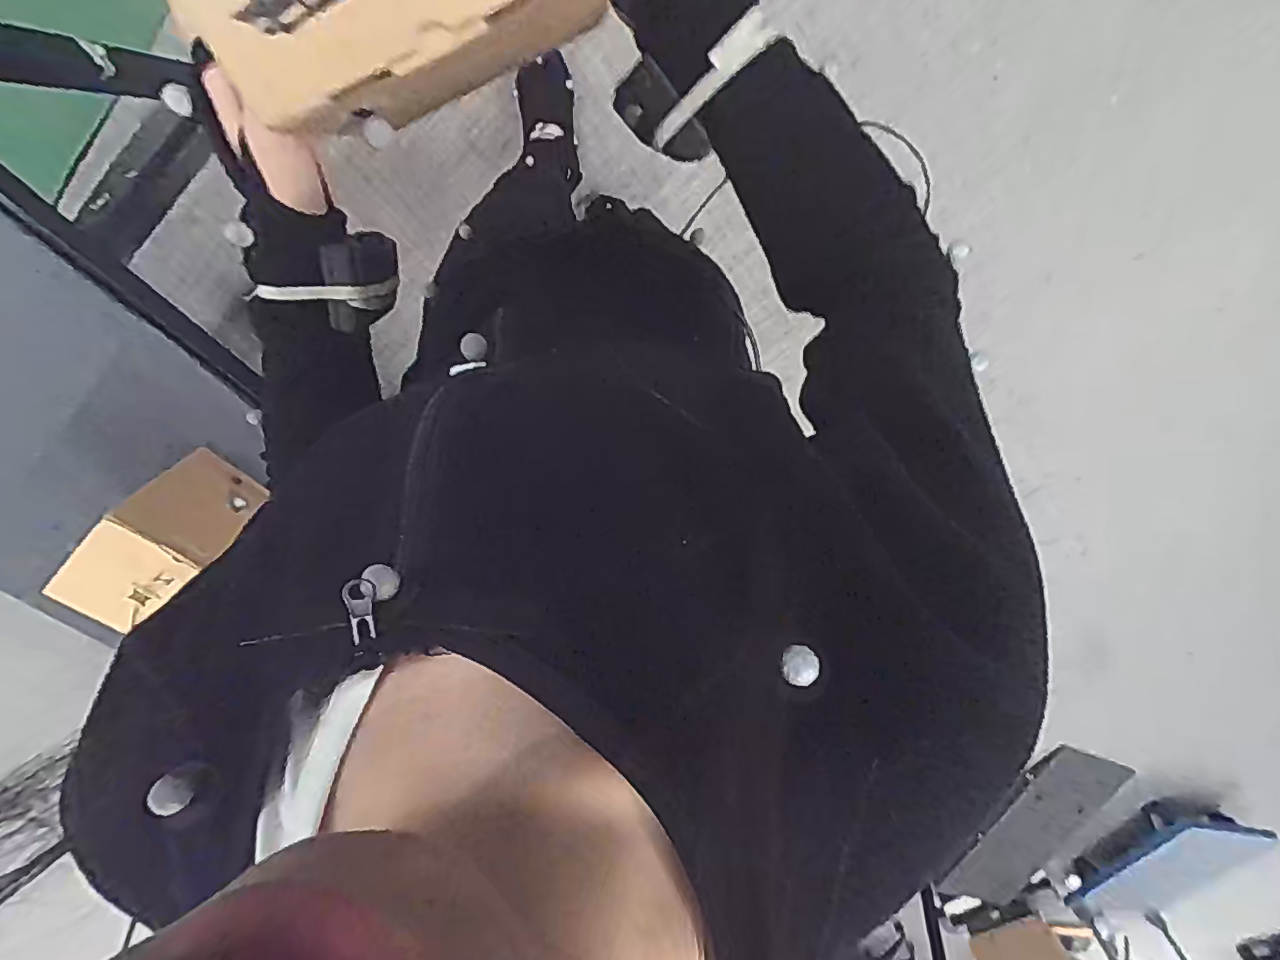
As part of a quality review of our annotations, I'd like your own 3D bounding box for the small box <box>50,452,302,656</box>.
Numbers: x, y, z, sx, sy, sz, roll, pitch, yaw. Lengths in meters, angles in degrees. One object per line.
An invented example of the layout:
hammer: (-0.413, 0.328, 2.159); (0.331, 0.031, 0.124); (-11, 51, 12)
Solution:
small box: (-0.606, 0.096, 0.733); (0.179, 0.176, 0.168); (-36, 117, 19)
